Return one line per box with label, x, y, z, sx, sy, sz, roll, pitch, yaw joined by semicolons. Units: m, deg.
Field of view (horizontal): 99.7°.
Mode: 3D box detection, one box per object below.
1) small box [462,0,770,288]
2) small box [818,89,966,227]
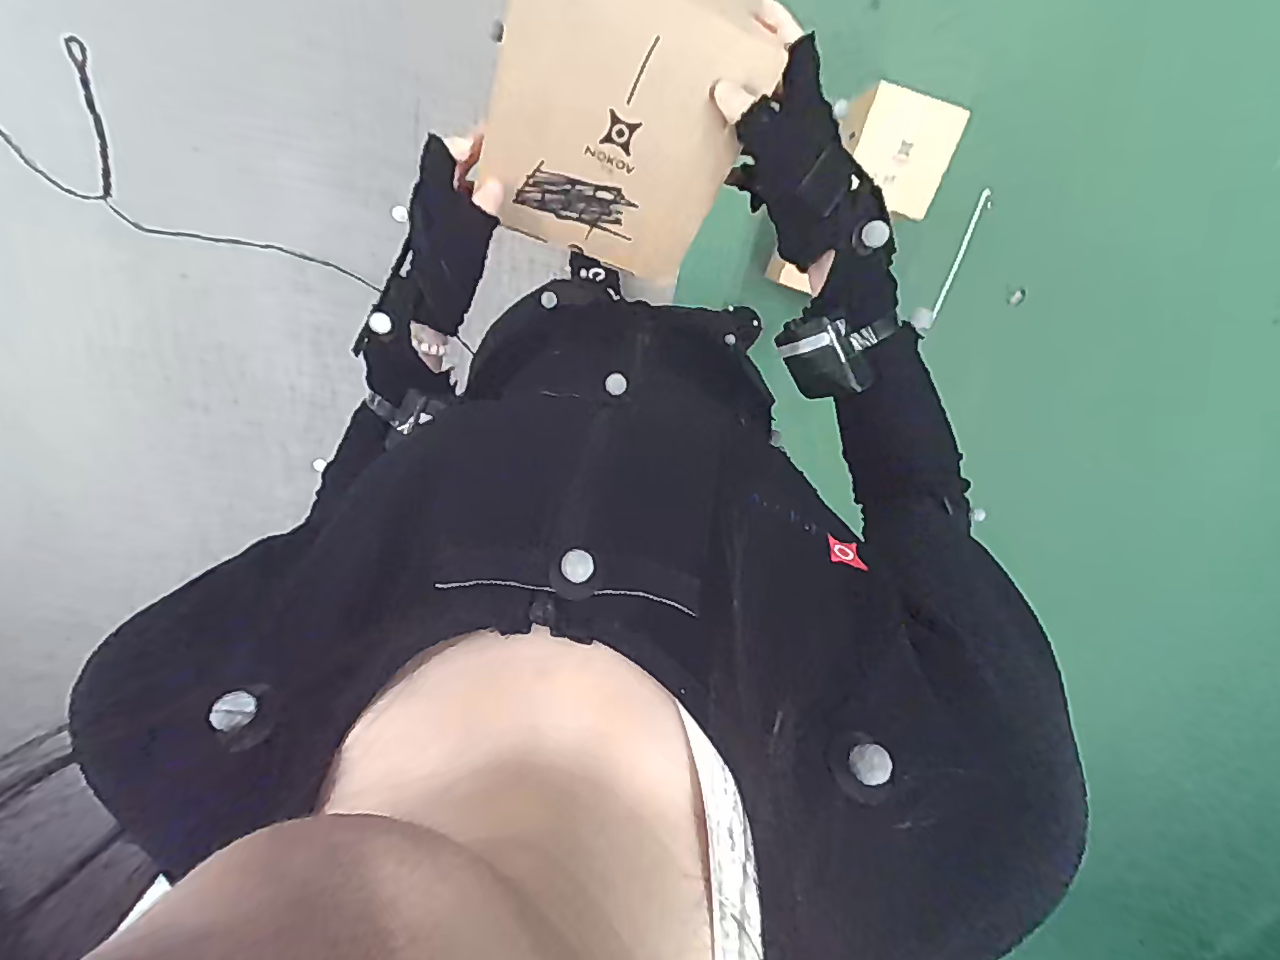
small box;-0.027;-0.290;0.414;0.168;0.176;0.179;13;140;-20
small box;0.455;-0.589;1.013;0.168;0.176;0.179;16;115;-4
